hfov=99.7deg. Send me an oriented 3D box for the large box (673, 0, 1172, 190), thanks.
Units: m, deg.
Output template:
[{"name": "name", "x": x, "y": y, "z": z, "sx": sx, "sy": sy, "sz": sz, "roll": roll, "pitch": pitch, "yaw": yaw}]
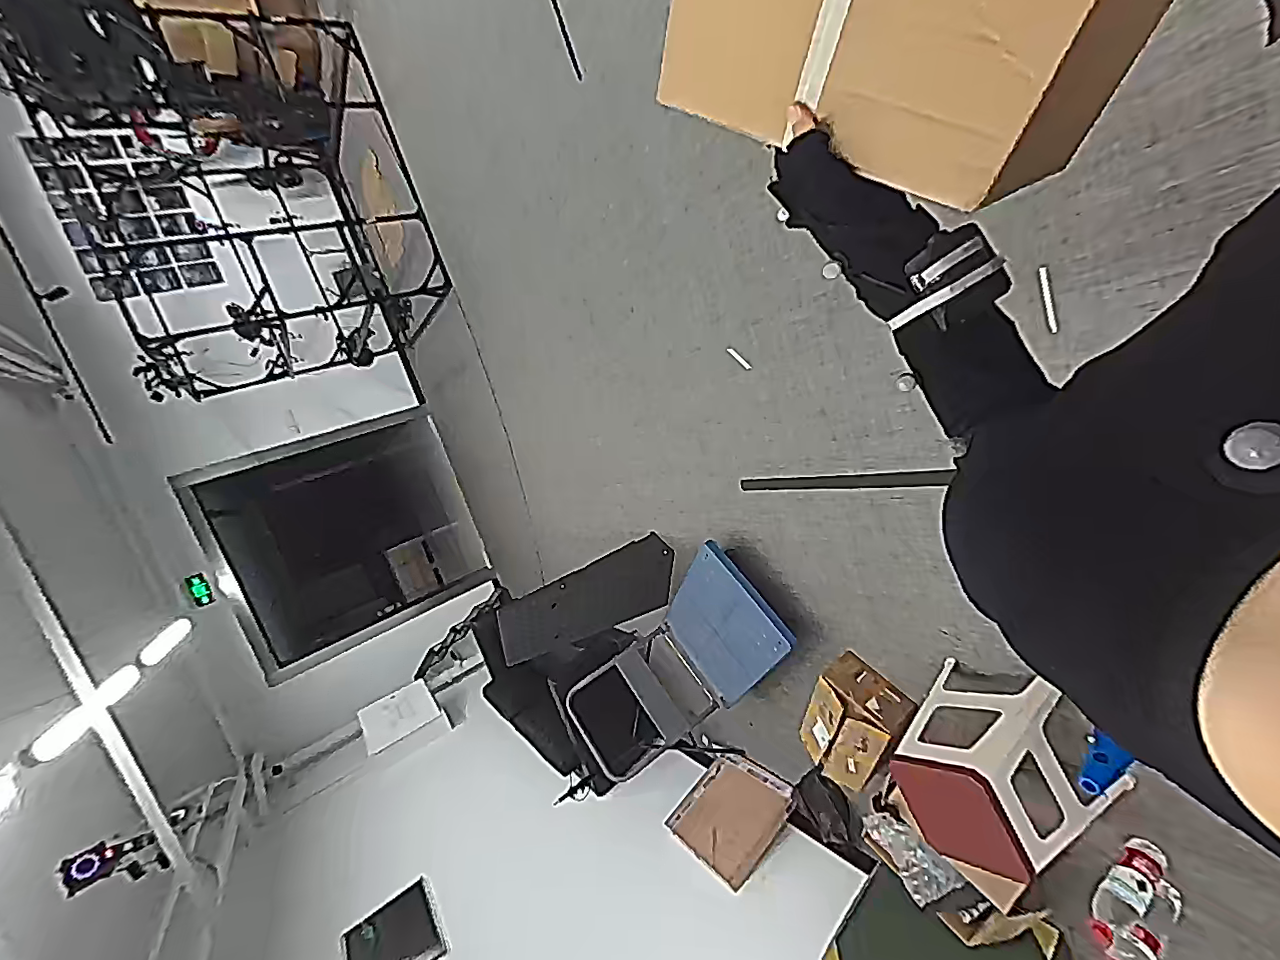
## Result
[{"name": "large box", "x": 0.268, "y": -0.492, "z": 0.410, "sx": 0.320, "sy": 0.320, "sz": 0.408, "roll": 38, "pitch": 139, "yaw": 25}]
